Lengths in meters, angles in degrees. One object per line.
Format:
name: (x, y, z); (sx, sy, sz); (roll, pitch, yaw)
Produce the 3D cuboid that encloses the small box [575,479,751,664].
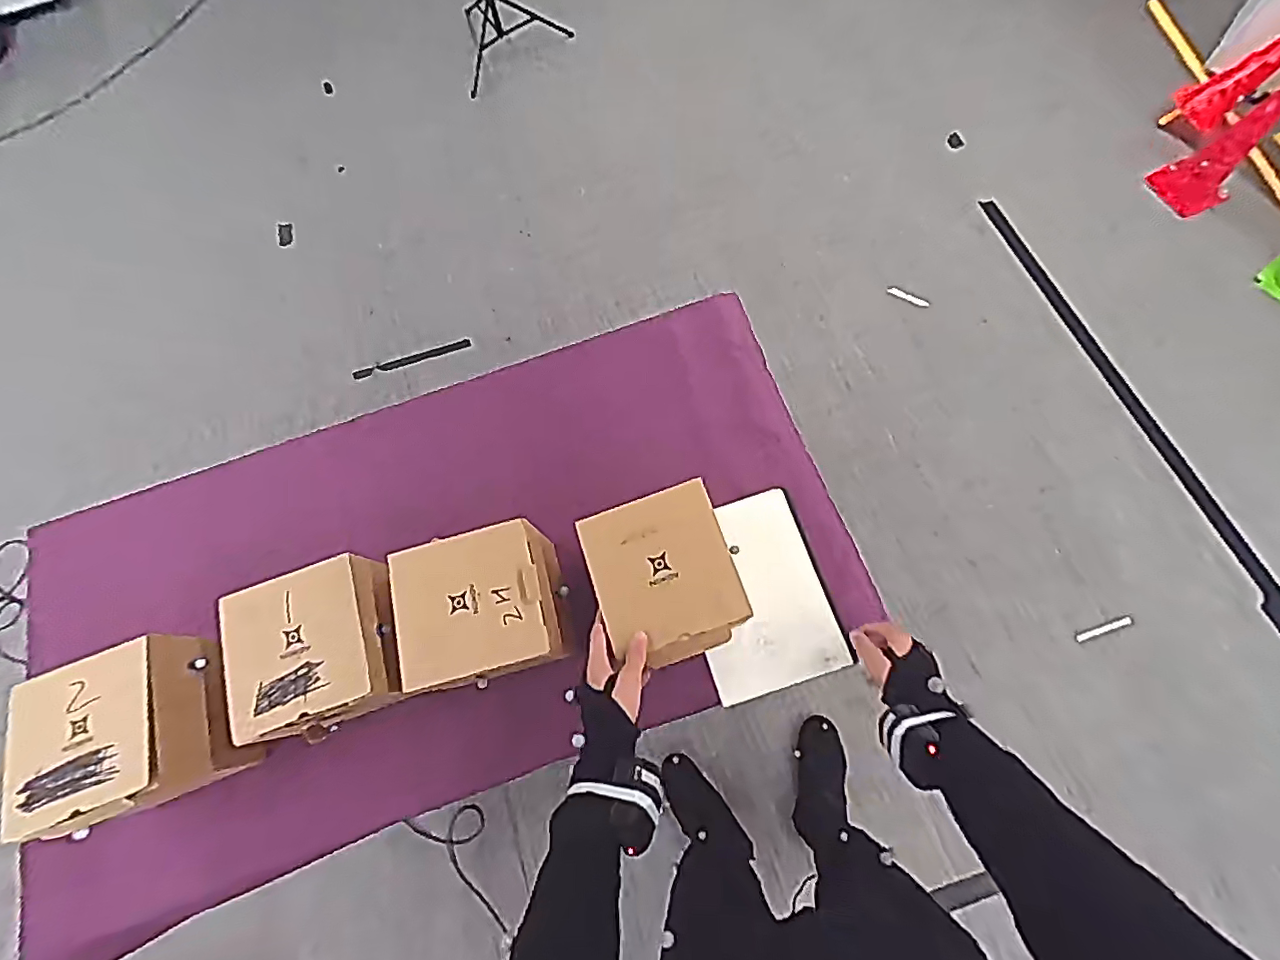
small box: (0.034, 0.124, 0.699); (0.168, 0.176, 0.179); (-20, 71, 1)
